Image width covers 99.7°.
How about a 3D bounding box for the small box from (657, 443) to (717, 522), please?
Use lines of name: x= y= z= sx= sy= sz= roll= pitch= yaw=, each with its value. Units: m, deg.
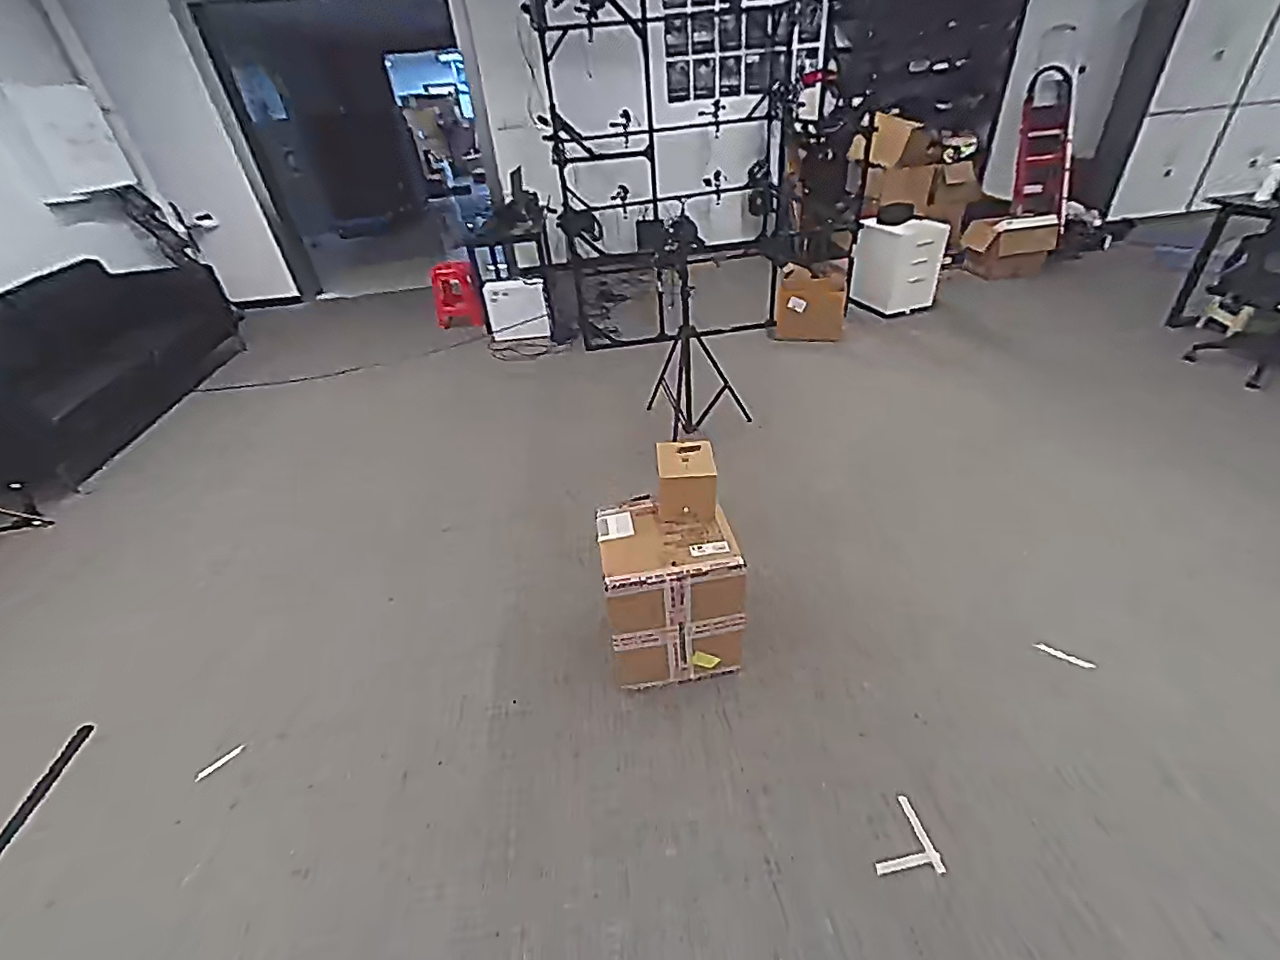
small box: x=0.135 y=0.006 z=1.620 sx=0.168 sy=0.176 sz=0.179 roll=-3 pitch=38 yaw=0
